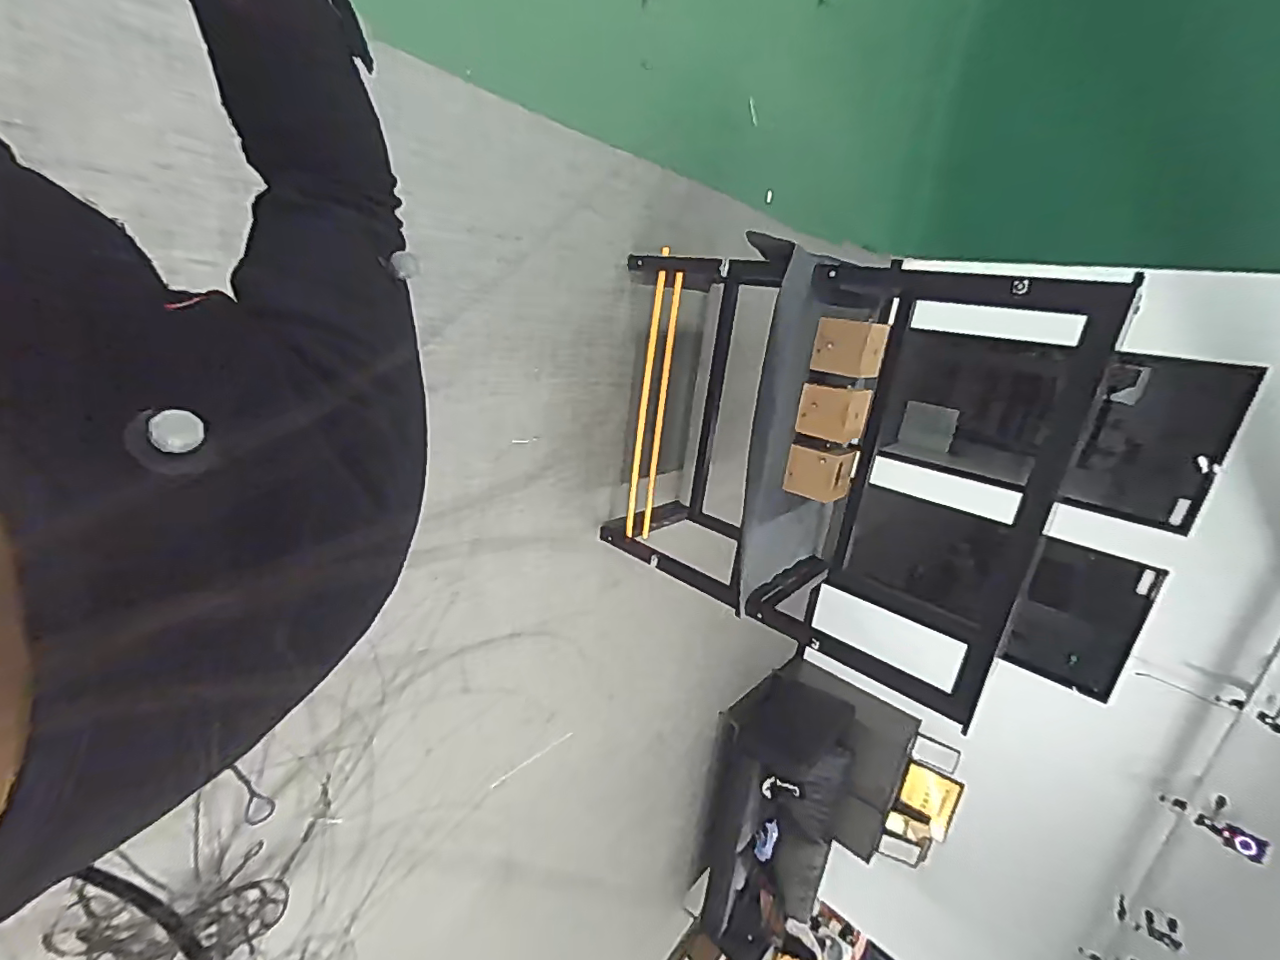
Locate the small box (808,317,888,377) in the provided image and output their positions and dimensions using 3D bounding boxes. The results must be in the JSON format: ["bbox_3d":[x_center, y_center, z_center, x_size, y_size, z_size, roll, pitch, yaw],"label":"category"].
[{"bbox_3d":[0.668,-0.432,1.744,0.179,0.176,0.168,-14,118,-47],"label":"small box"}]
